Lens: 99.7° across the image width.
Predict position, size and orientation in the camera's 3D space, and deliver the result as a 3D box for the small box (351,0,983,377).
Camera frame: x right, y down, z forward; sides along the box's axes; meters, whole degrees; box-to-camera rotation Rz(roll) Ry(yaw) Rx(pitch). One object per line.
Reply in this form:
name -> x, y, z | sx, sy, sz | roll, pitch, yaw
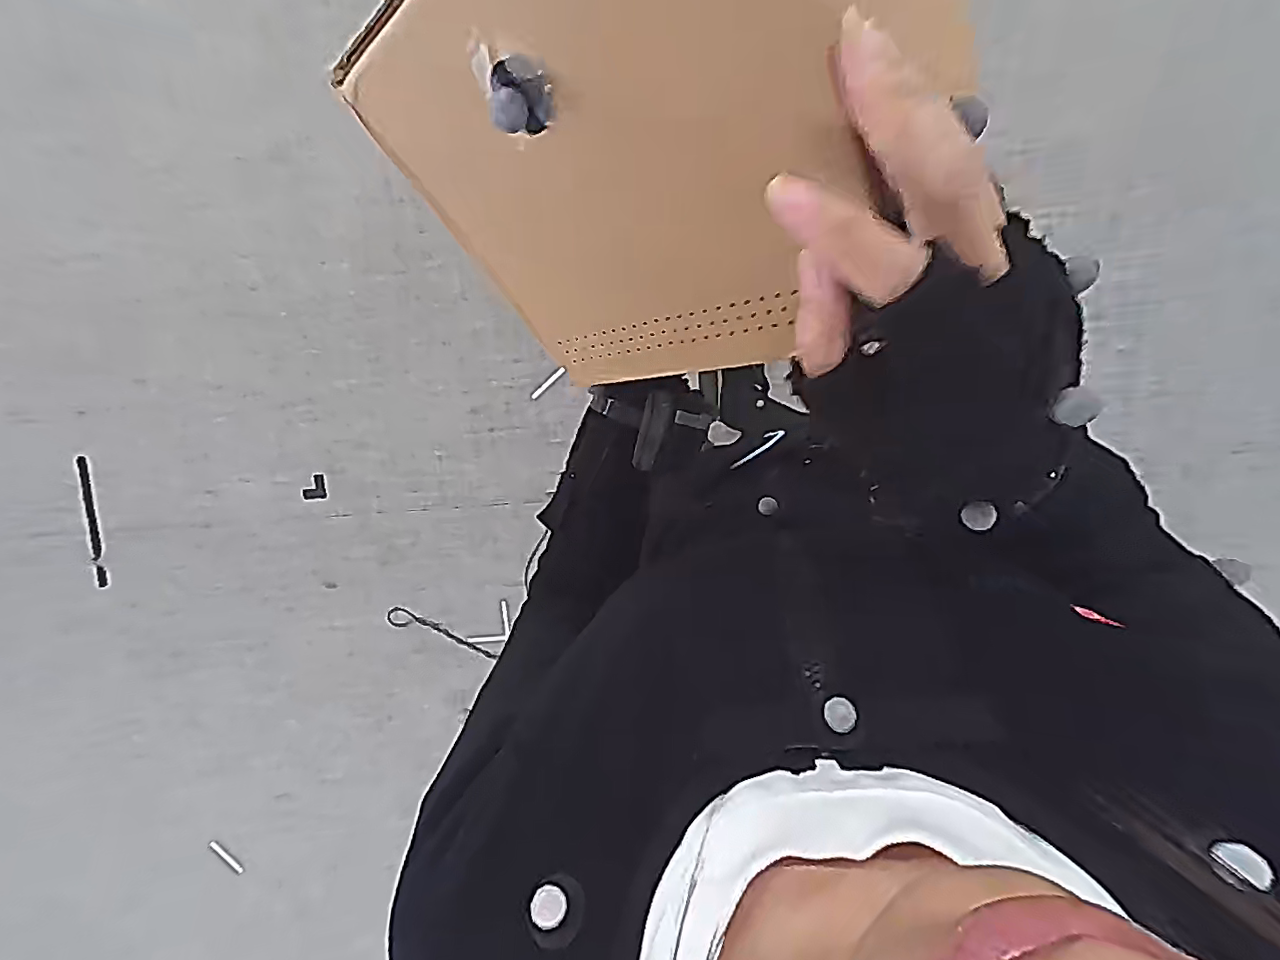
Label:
small box -> 0.025, -0.161, 0.236 | 0.176, 0.179, 0.168 | 49, 60, -37
